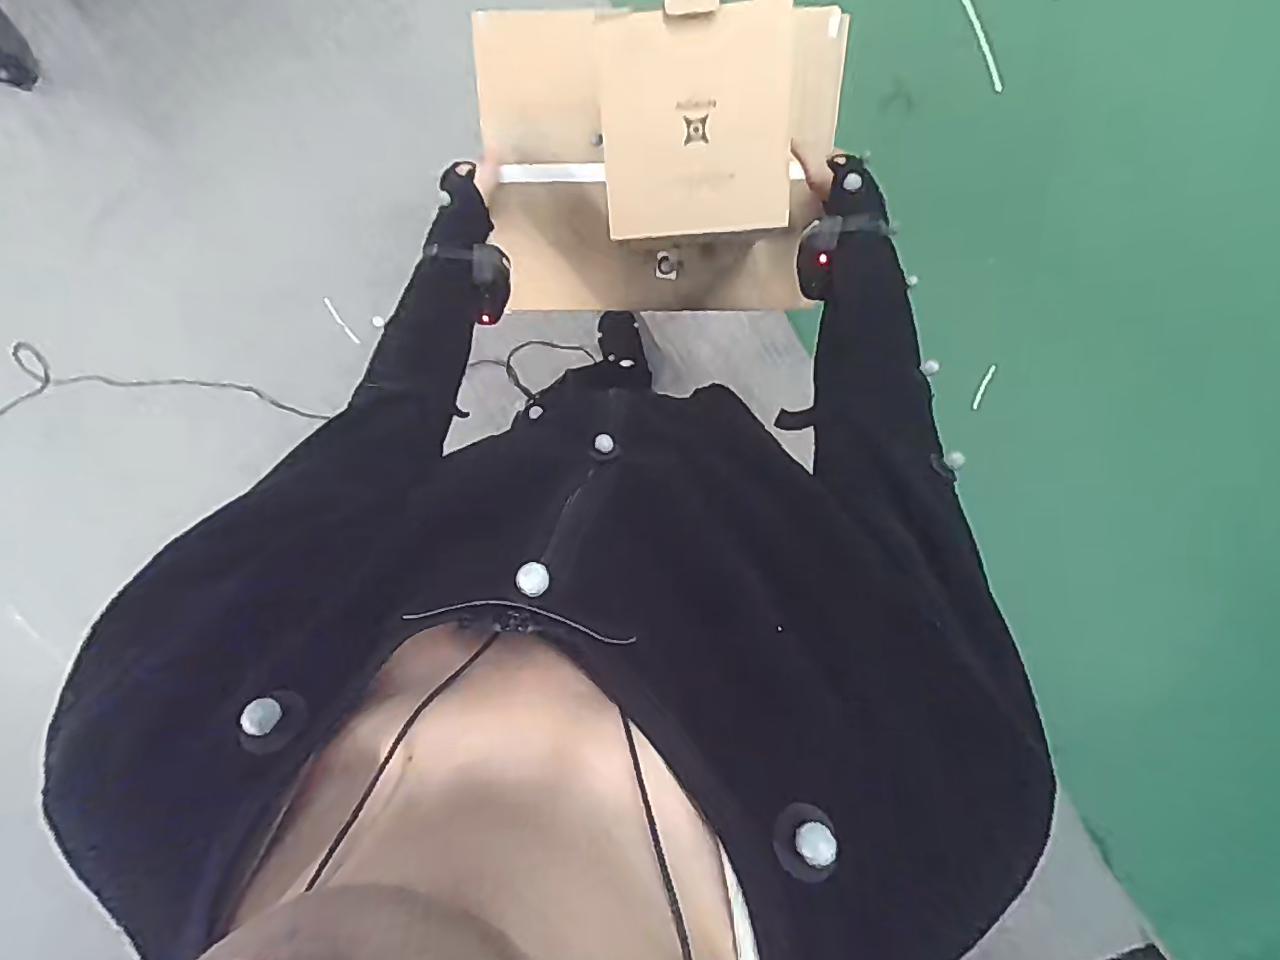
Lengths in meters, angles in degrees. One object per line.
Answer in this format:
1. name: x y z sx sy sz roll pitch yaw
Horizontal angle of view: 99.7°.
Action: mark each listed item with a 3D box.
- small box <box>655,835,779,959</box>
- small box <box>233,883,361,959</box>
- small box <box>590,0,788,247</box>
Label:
1. small box: 0.142 0.830 1.043 0.168 0.176 0.179 -34 99 11
2. small box: -0.796 1.101 1.274 0.168 0.176 0.179 -12 104 6
3. small box: 0.045 -0.340 0.538 0.168 0.176 0.179 -4 108 3
